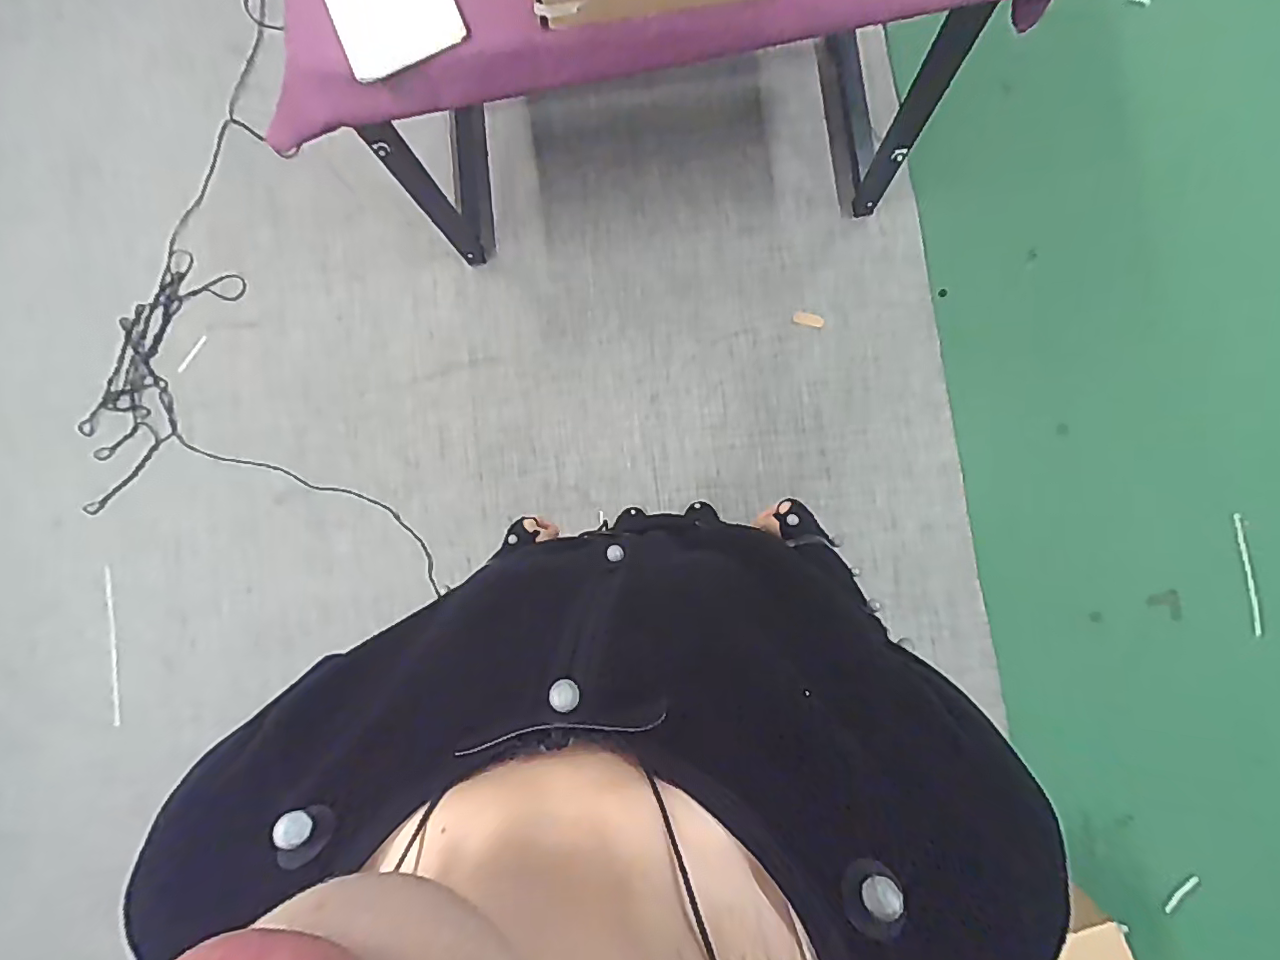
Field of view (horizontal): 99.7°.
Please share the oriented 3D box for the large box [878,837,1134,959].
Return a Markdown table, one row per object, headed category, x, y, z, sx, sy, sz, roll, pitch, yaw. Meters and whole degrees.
| category | x | y | z | sx | sy | sz | roll | pitch | yaw |
| --- | --- | --- | --- | --- | --- | --- | --- | --- | --- |
| large box | 0.837 | 1.108 | 1.227 | 0.408 | 0.320 | 0.320 | -21 | 85 | 2 |
